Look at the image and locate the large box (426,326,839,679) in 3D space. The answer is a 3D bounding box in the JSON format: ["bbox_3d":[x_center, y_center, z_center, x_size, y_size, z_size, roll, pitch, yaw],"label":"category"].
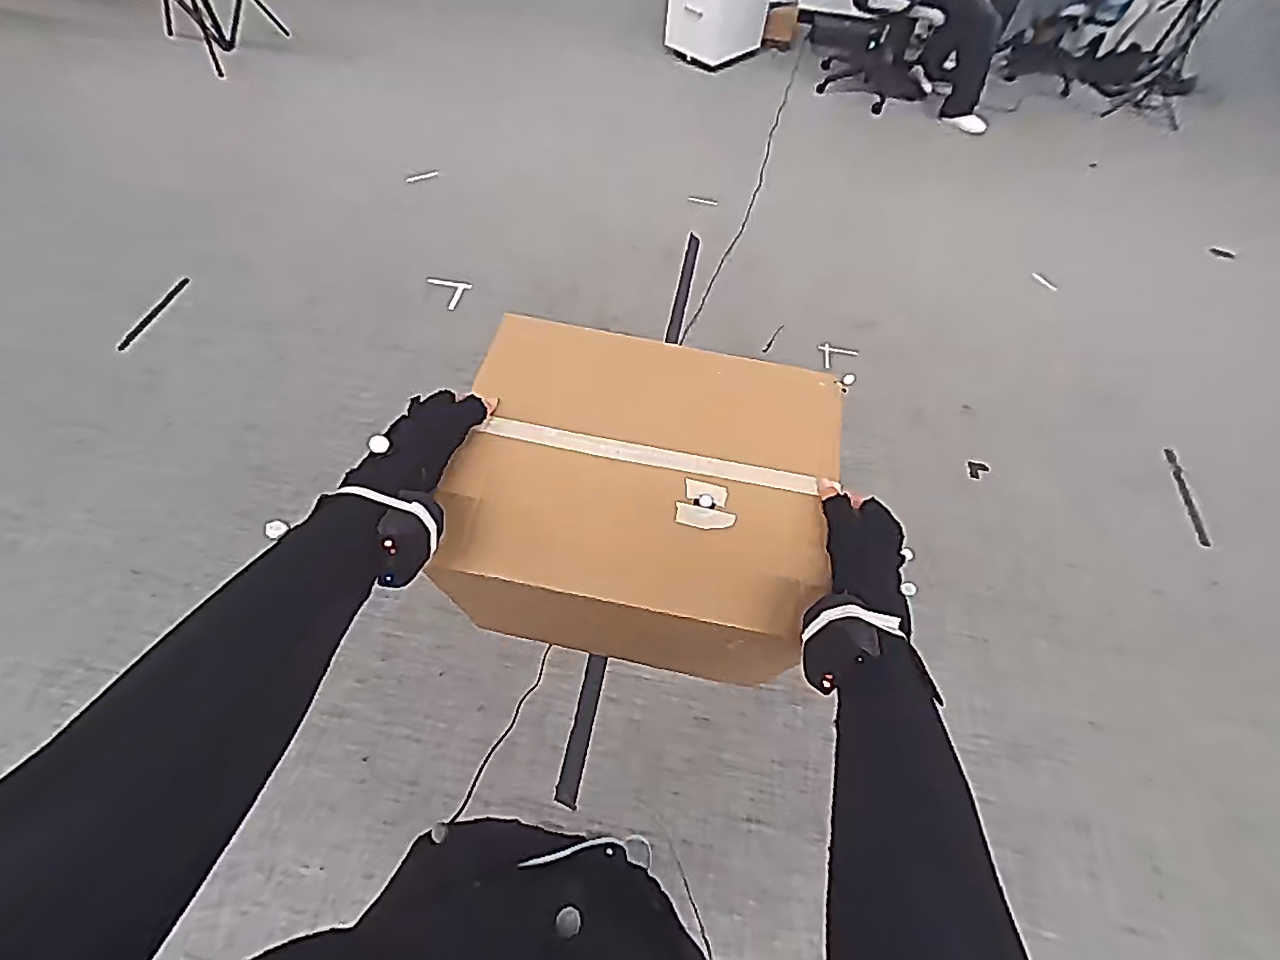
[{"bbox_3d":[0.004,0.049,0.711,0.408,0.320,0.320,12,64,2],"label":"large box"}]
